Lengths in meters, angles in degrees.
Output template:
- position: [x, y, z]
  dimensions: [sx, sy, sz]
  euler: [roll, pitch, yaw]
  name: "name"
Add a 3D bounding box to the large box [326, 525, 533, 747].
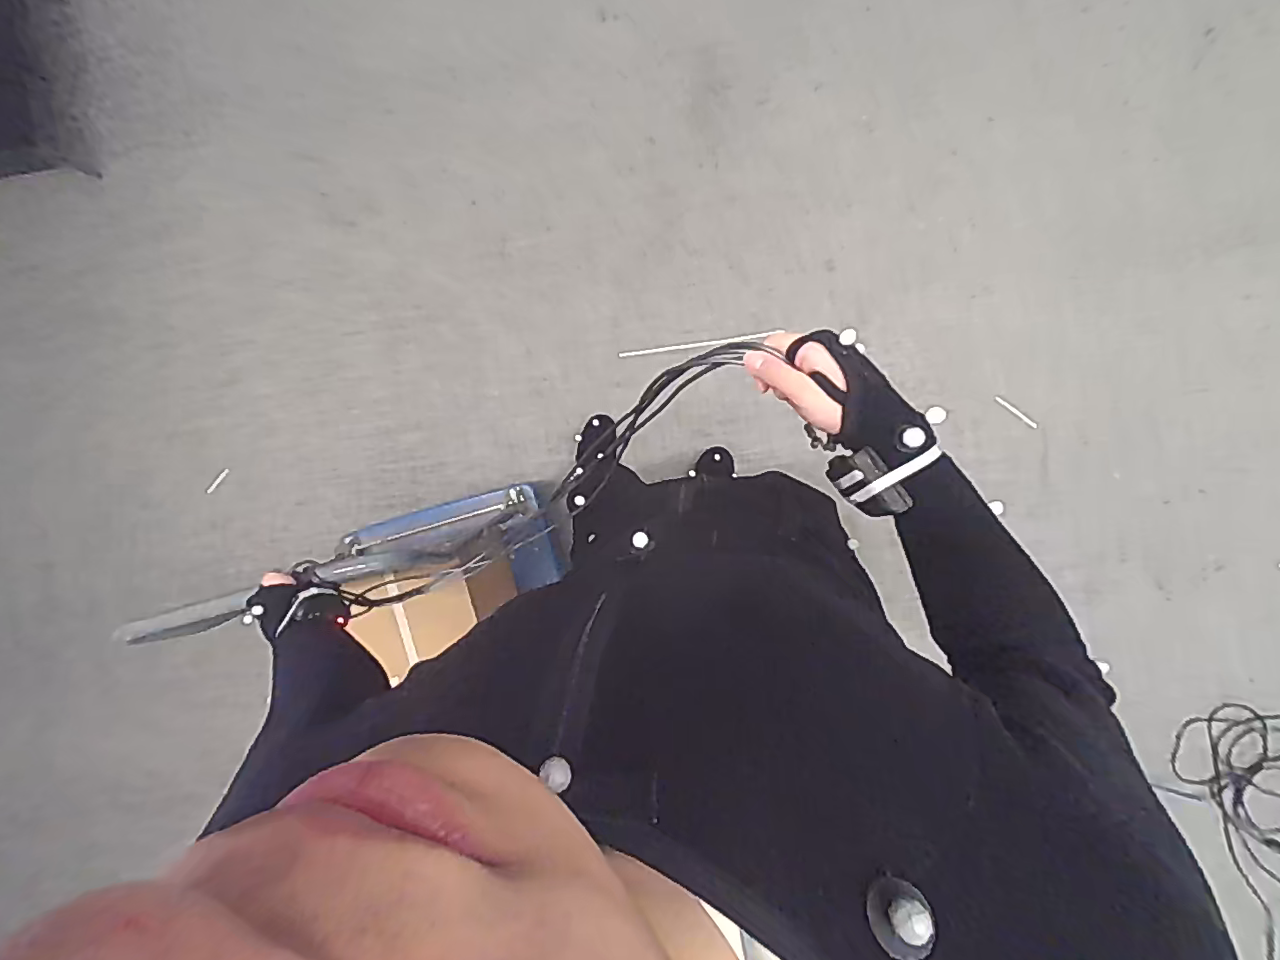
- position: [-0.490, 0.359, 1.338]
  dimensions: [0.320, 0.320, 0.408]
  euler: [-15, 93, 3]
  name: "large box"
